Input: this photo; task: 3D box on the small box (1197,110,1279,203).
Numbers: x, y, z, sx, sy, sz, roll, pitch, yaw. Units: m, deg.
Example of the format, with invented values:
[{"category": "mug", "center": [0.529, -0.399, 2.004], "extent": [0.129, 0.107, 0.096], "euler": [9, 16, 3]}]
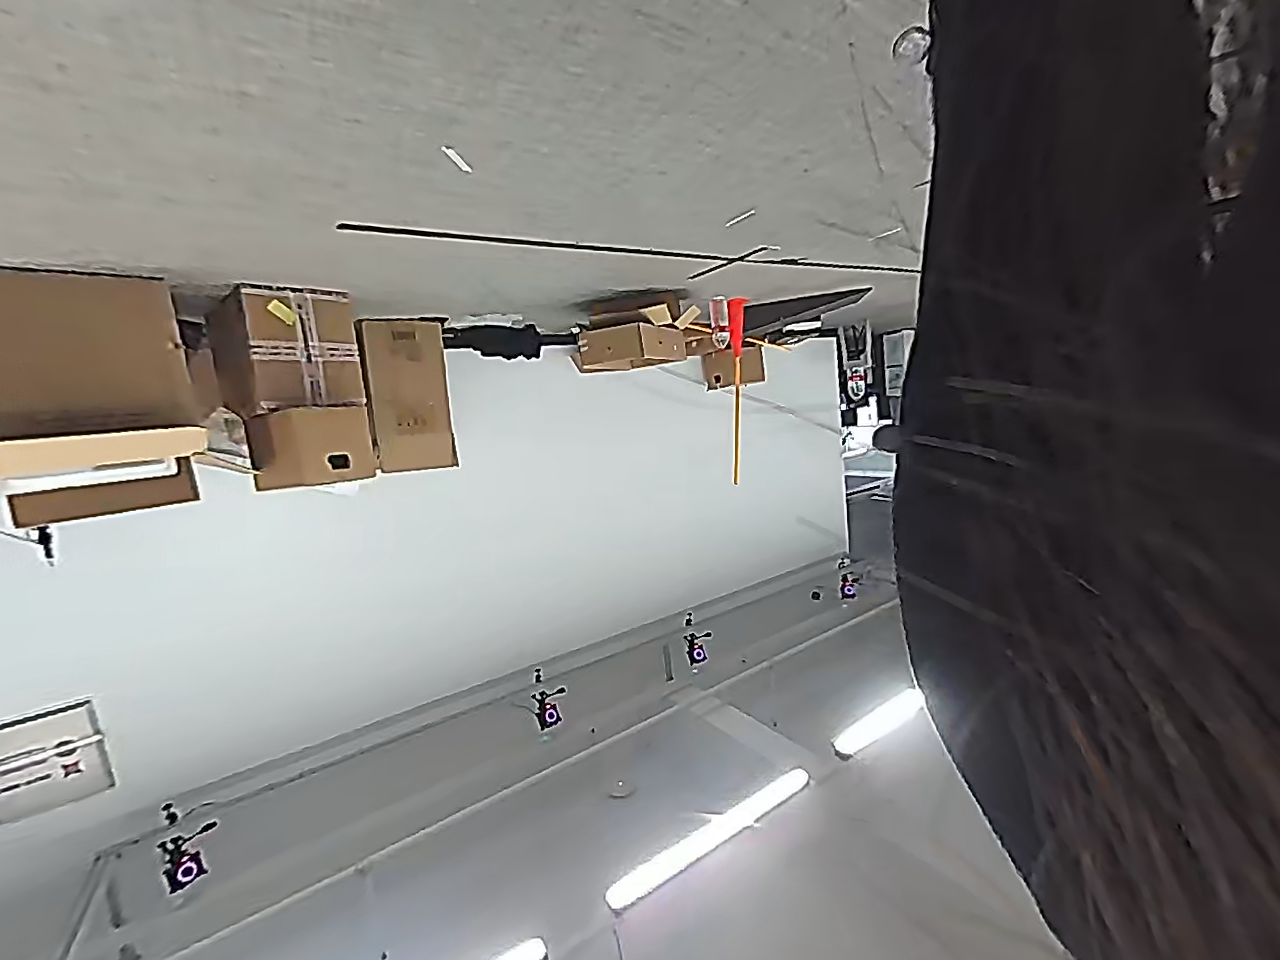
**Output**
[{"category": "small box", "center": [1.783, -0.952, 1.595], "extent": [0.179, 0.176, 0.168], "euler": [-1, -172, 40]}]
